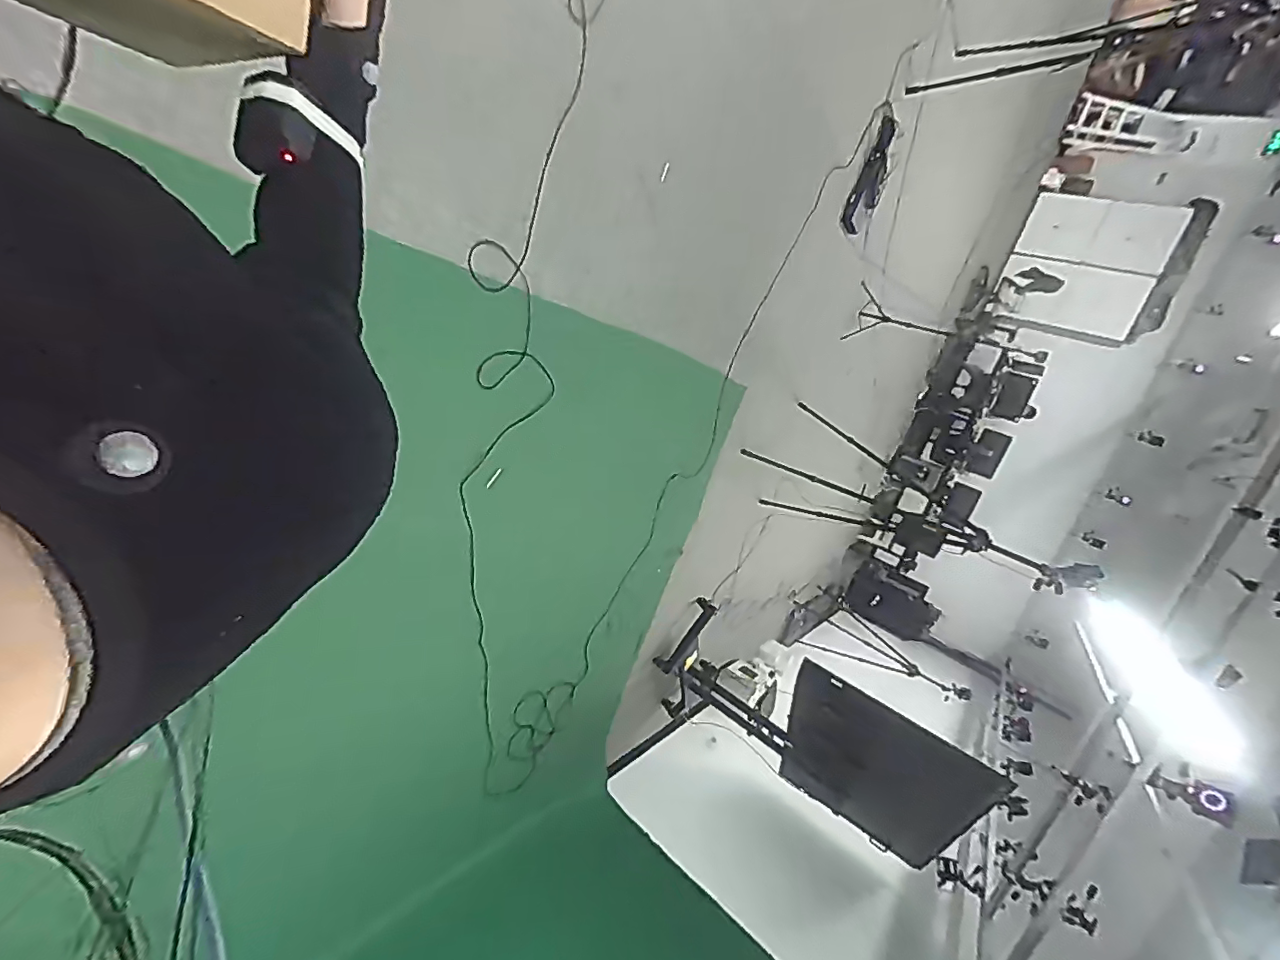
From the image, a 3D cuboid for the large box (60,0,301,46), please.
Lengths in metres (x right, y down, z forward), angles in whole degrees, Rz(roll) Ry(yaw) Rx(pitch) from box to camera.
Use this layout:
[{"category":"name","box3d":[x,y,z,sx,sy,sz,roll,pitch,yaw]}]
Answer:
[{"category":"large box","box3d":[-0.467,-0.529,0.311,0.408,0.320,0.320,-9,118,-53]}]
